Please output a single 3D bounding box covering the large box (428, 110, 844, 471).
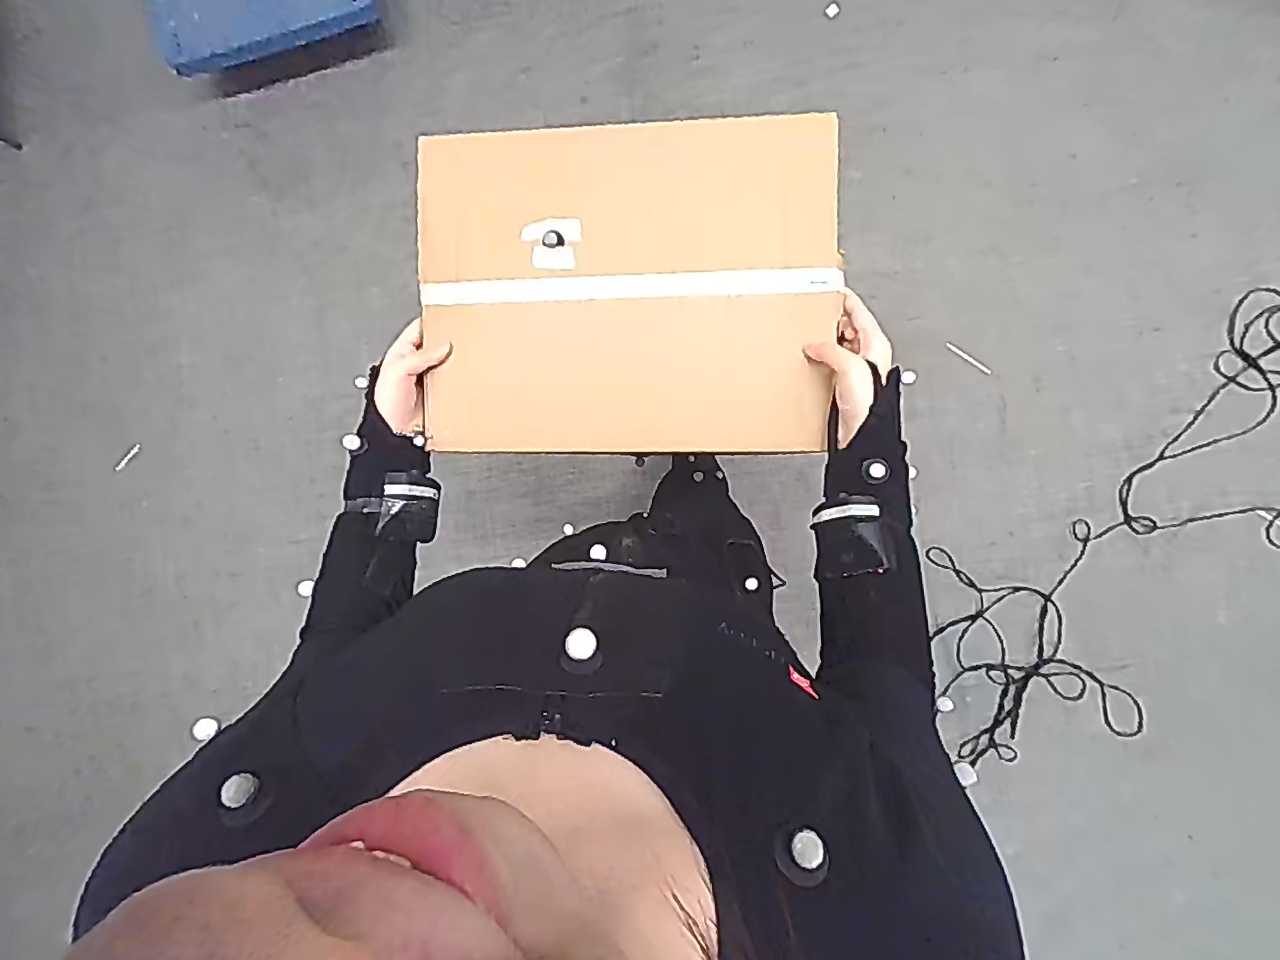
[{"bbox_3d":[0.000,-0.227,0.687,0.408,0.320,0.320,11,107,8],"label":"large box"}]
